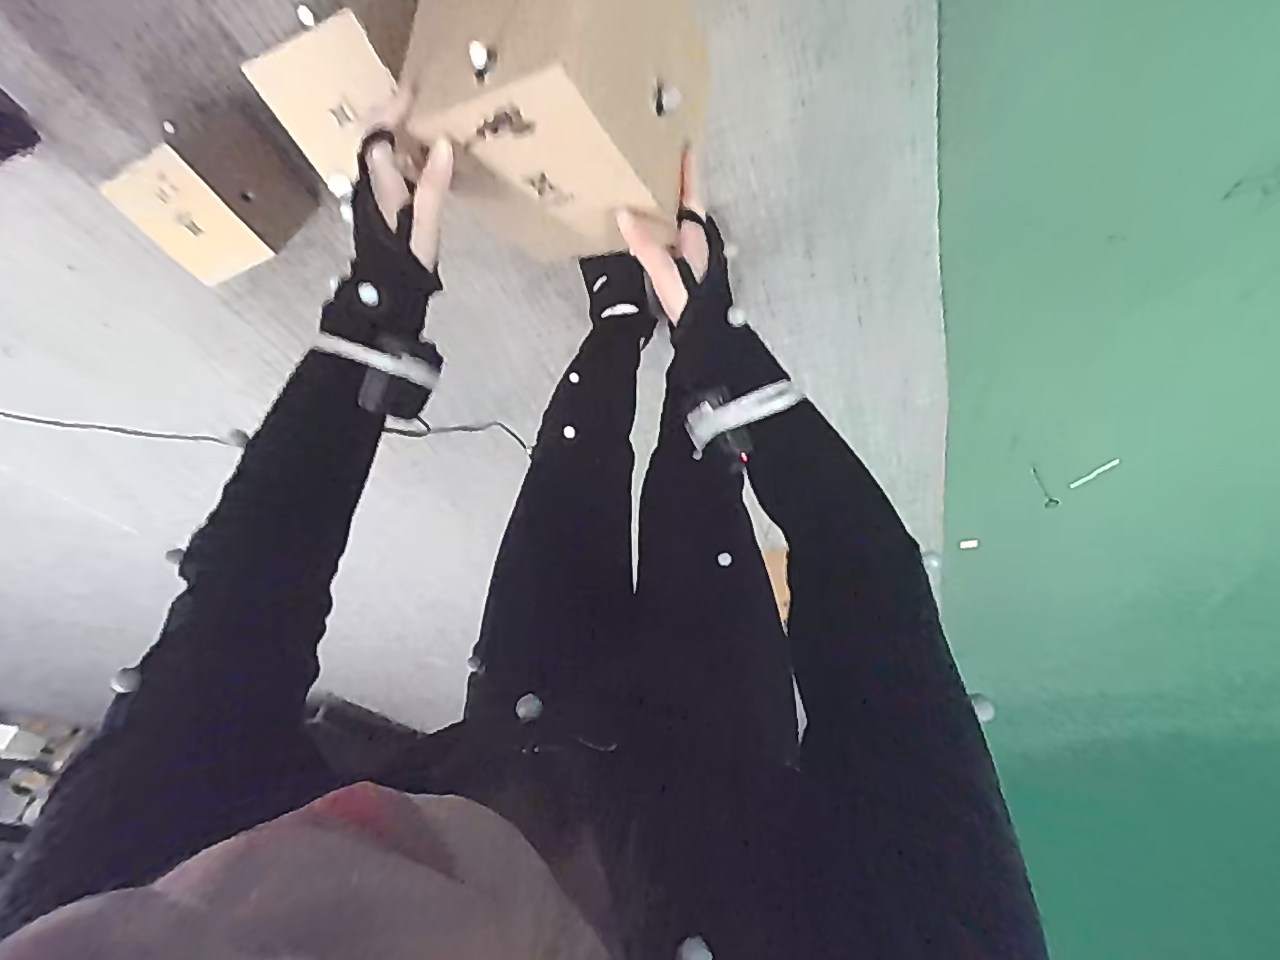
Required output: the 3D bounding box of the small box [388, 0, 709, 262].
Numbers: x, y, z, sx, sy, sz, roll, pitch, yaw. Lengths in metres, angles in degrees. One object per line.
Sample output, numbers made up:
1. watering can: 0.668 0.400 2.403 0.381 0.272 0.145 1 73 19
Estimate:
1. small box: -0.059 -0.302 0.431 0.168 0.176 0.179 7 173 32
